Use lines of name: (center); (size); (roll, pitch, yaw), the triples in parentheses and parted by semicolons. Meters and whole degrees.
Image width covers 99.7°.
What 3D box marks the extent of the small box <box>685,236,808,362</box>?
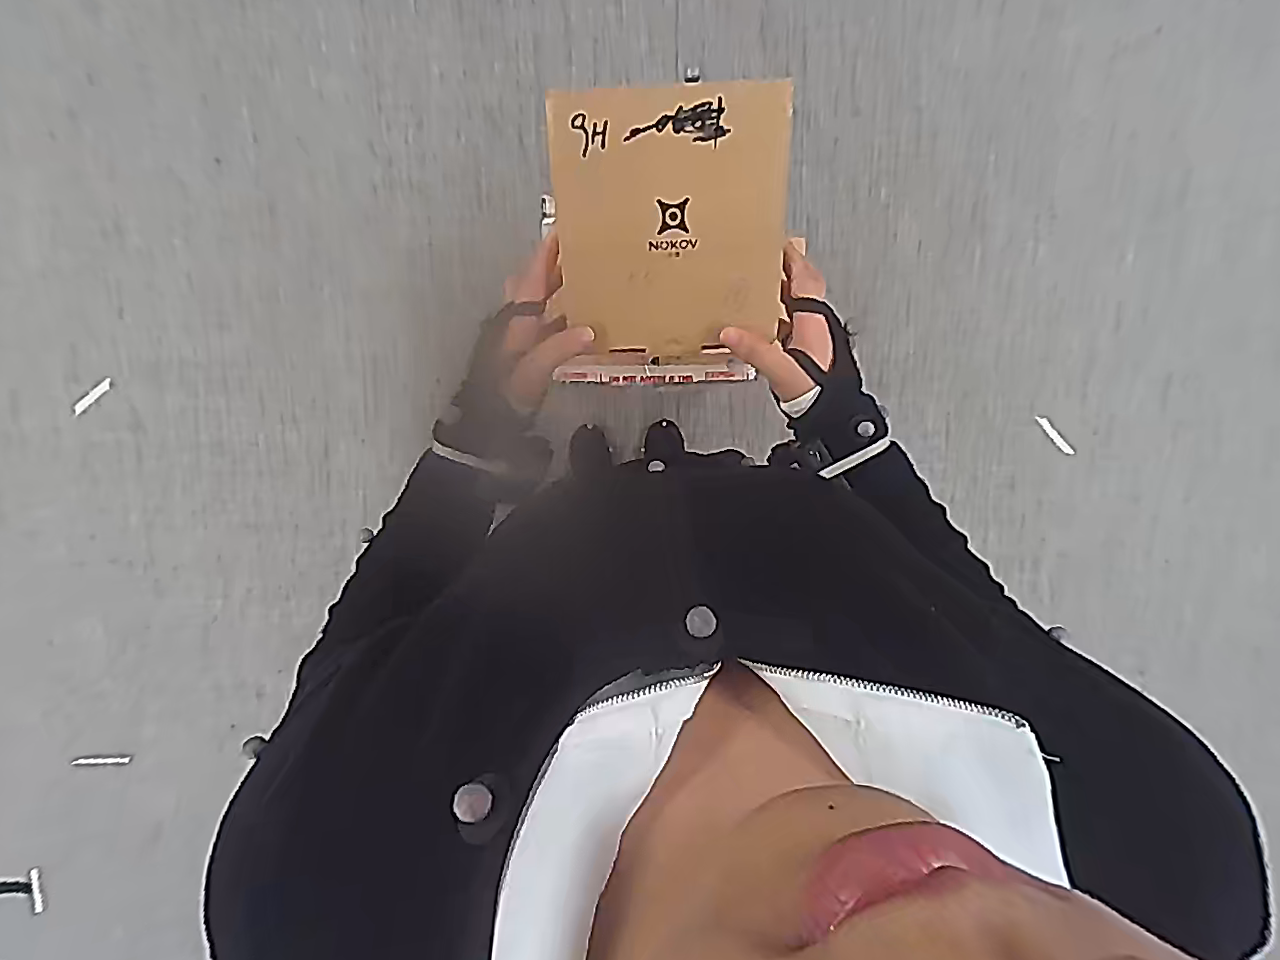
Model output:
small box: (0.166, -0.292, 0.901); (0.168, 0.176, 0.179); (-1, 99, -4)

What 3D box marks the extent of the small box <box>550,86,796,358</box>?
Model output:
small box: (0.023, -0.217, 0.464); (0.168, 0.176, 0.179); (-4, 118, -1)
